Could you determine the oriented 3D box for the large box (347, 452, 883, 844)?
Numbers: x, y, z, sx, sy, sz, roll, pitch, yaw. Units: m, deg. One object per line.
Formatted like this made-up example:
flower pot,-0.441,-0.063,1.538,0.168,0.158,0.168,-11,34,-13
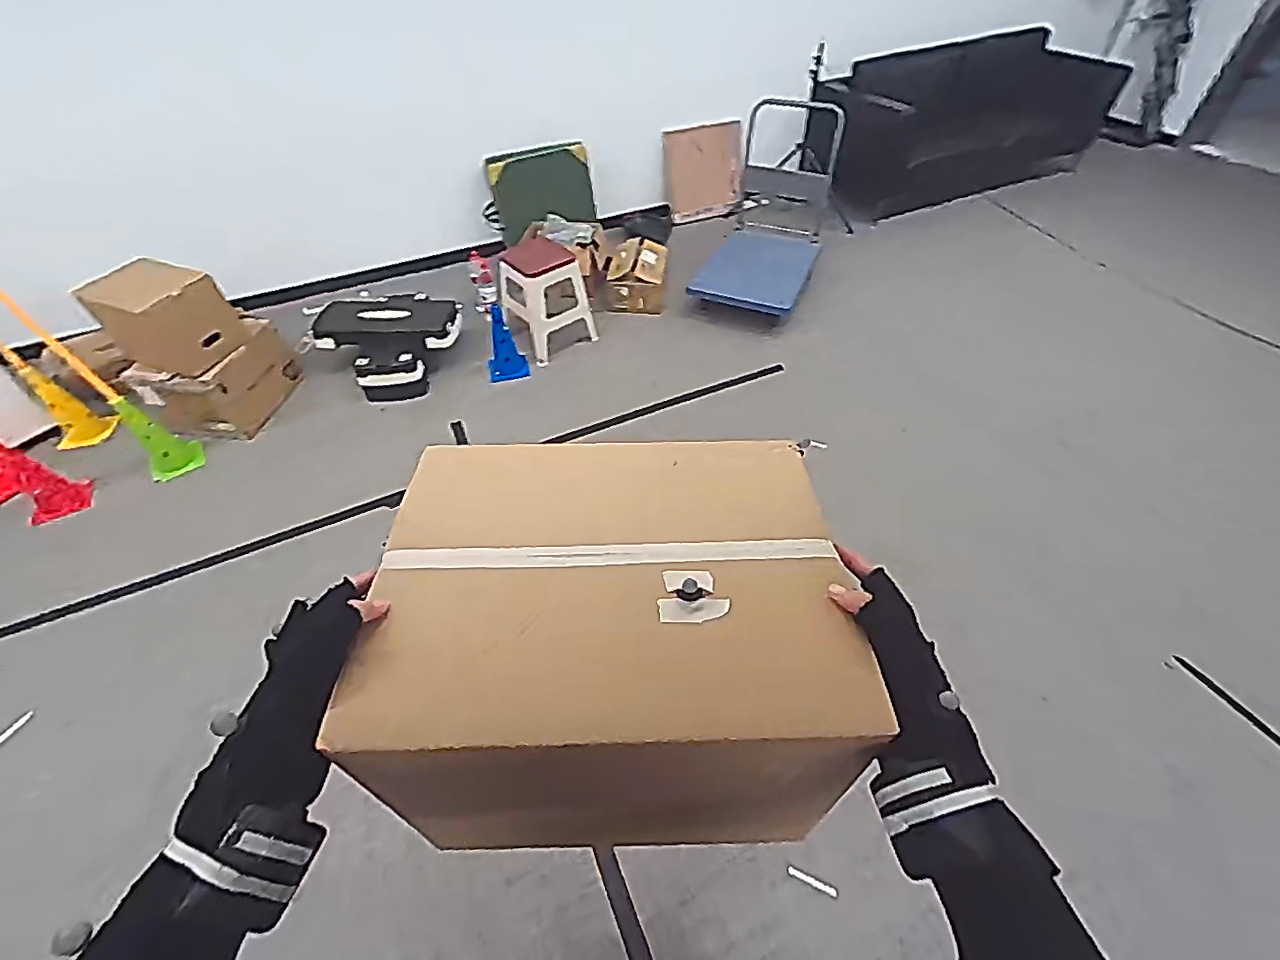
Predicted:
large box,-0.022,0.184,0.603,0.408,0.320,0.320,0,45,-1
